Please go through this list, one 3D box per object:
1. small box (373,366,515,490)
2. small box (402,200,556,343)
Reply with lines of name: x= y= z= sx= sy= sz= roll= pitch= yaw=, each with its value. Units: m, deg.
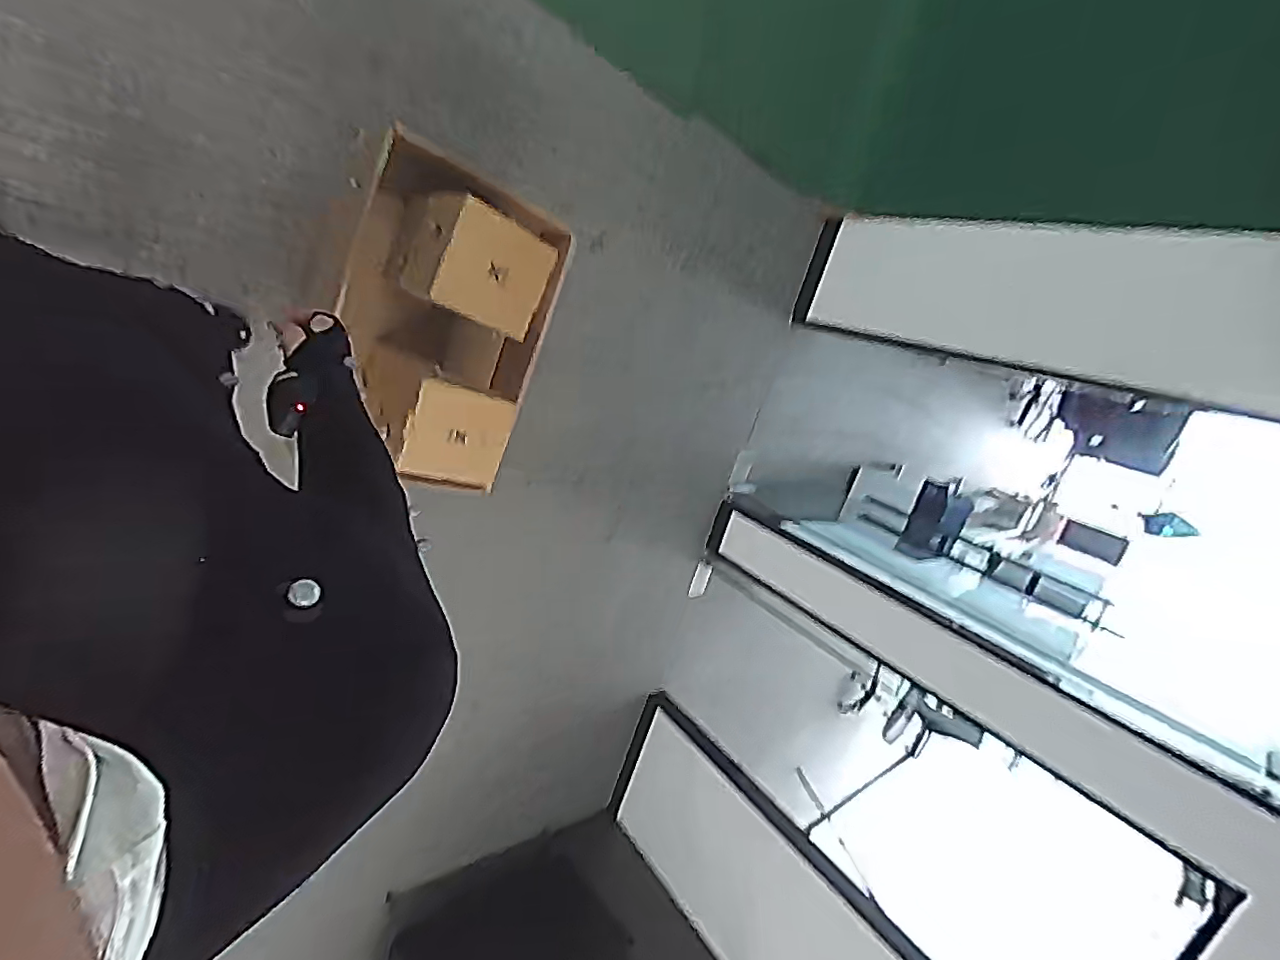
small box: x=-0.369 y=-0.099 z=1.000 sx=0.179 sy=0.176 sz=0.168 roll=13 pitch=104 yaw=-45
small box: x=-0.285 y=-0.359 z=0.938 sx=0.179 sy=0.176 sz=0.168 roll=17 pitch=100 yaw=-46
